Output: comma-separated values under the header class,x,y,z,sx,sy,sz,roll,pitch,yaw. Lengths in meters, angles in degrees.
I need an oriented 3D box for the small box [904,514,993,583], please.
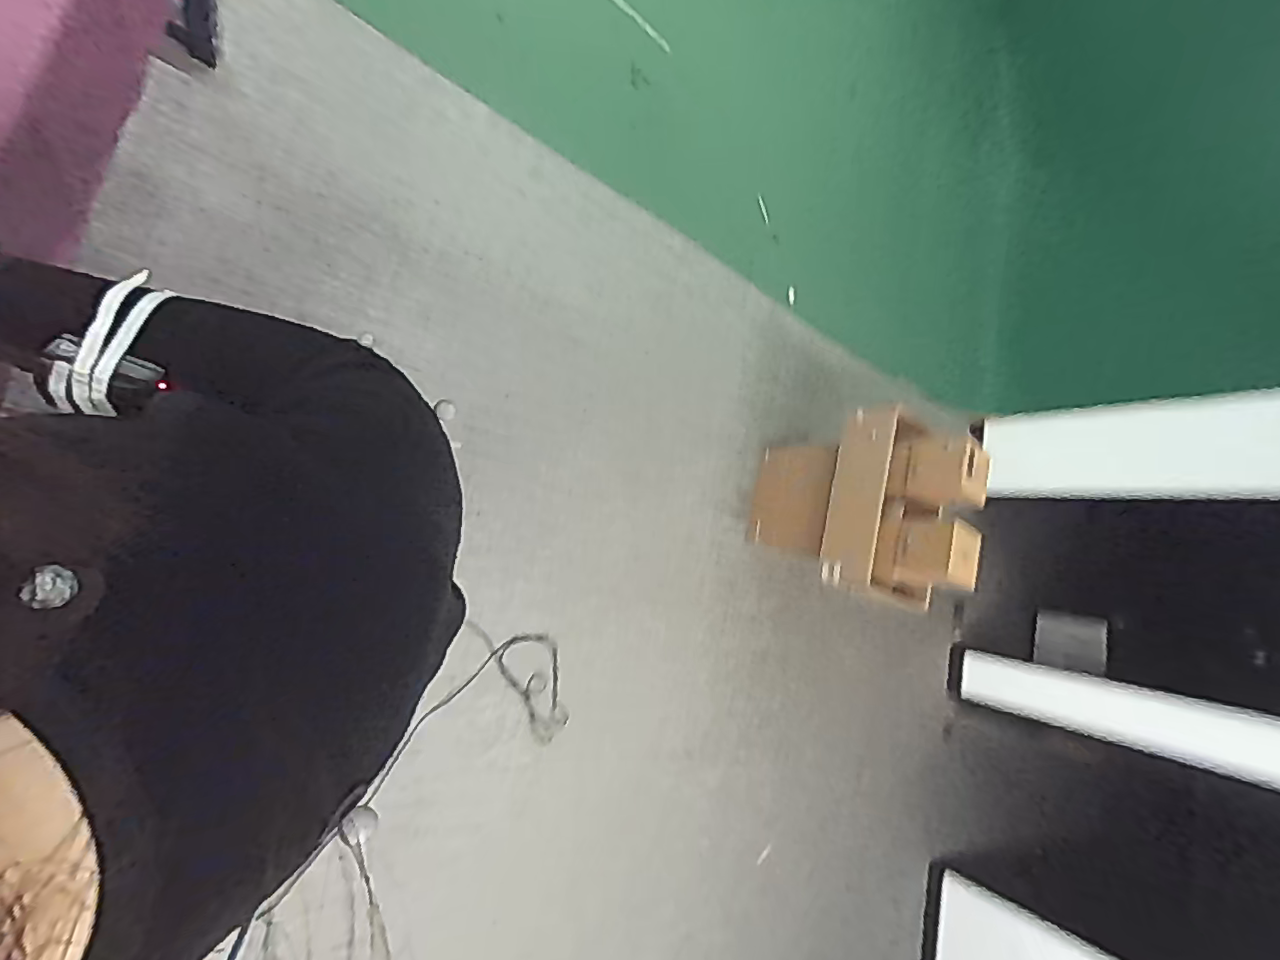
class,x,y,z,sx,sy,sz,roll,pitch,yaw
small box,0.946,0.205,1.658,0.179,0.176,0.168,24,75,-31
